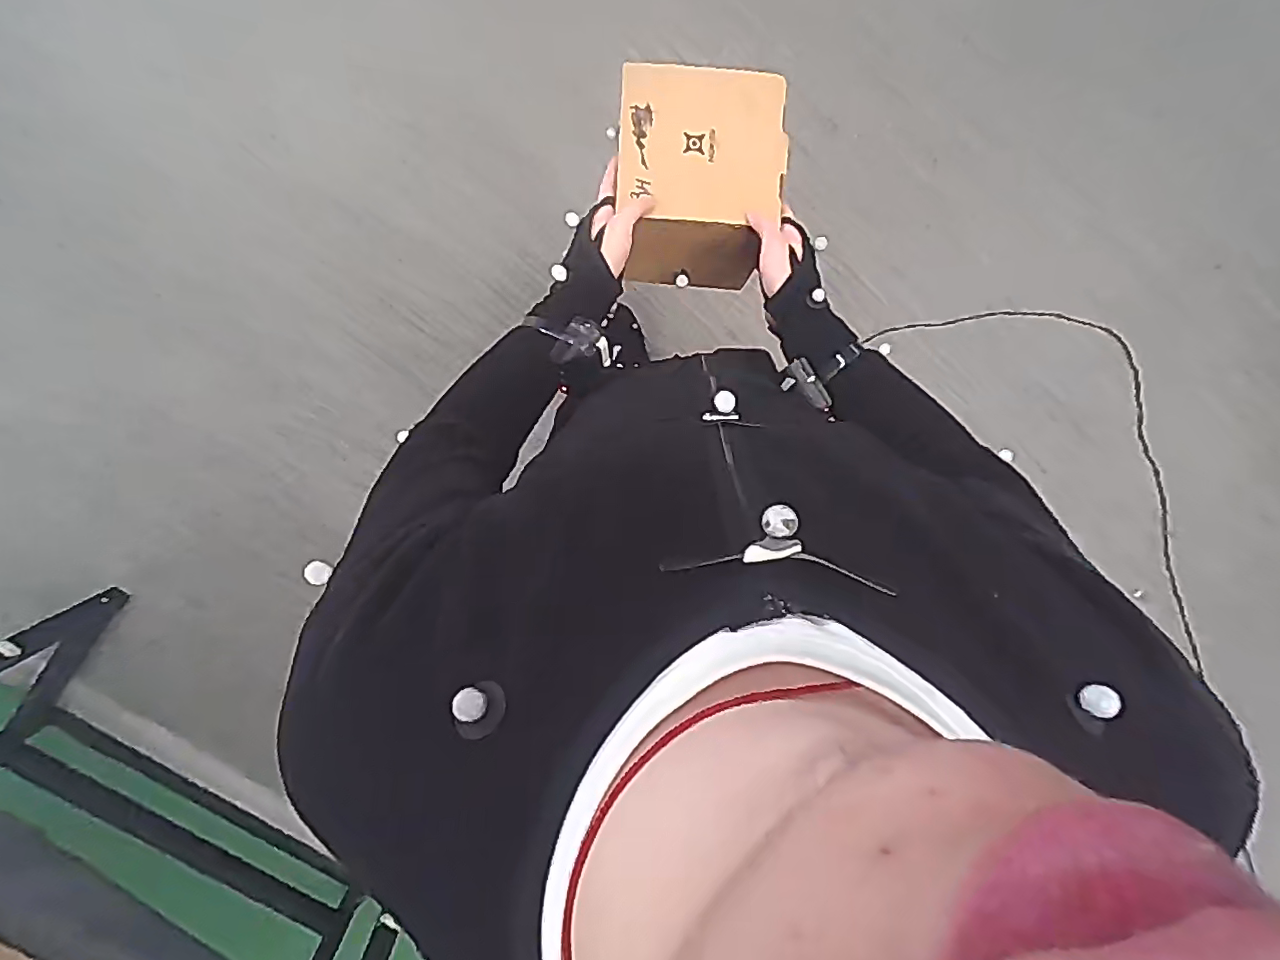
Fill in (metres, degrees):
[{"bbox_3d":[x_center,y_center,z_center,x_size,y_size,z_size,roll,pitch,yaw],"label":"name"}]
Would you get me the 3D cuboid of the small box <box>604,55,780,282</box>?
[{"bbox_3d":[0.051,-0.349,0.642,0.179,0.176,0.168,3,88,-5],"label":"small box"}]
